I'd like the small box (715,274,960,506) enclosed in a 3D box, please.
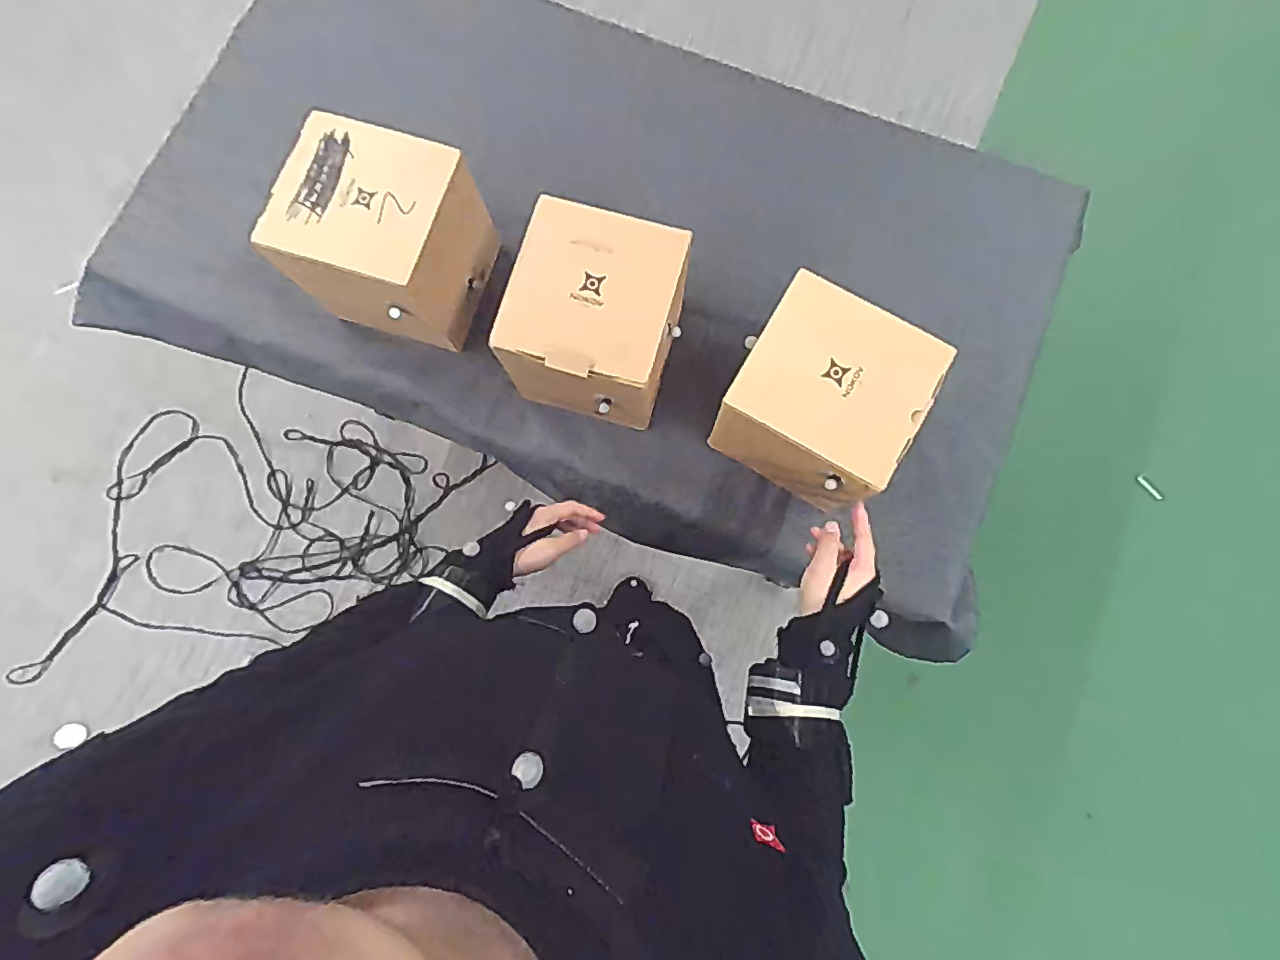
[{"bbox_3d":[0.200,-0.085,0.603,0.179,0.176,0.168,30,81,6],"label":"small box"}]

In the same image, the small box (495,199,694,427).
[{"bbox_3d":[-0.043,-0.176,0.623,0.168,0.176,0.179,15,79,2],"label":"small box"}]
